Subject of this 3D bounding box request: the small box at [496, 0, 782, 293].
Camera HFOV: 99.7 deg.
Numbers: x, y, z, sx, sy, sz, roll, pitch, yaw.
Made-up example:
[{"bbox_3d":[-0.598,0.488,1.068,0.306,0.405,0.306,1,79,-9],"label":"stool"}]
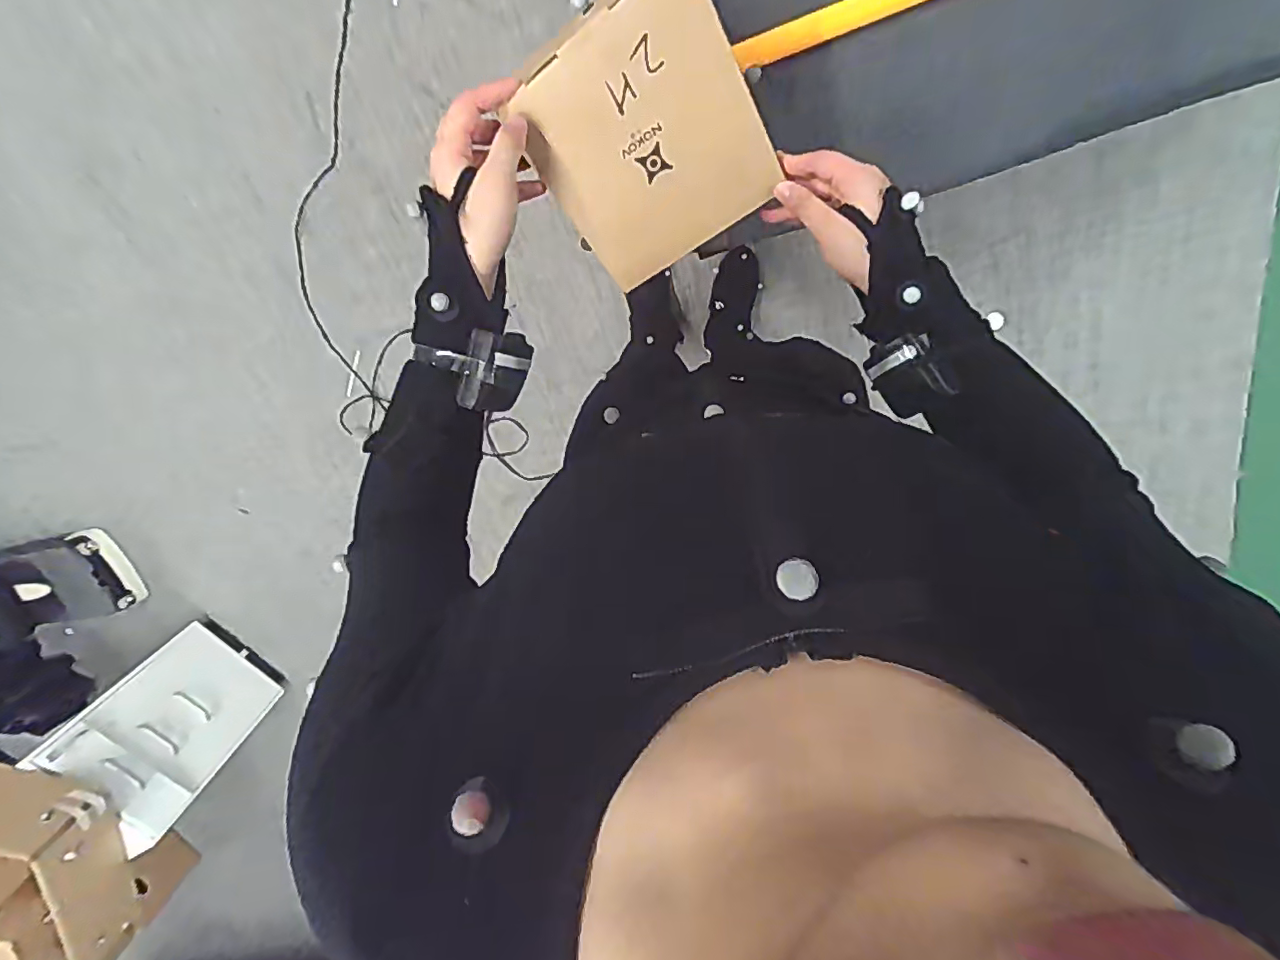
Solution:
[{"bbox_3d":[0.003,-0.311,0.478,0.168,0.176,0.179,-26,131,21],"label":"small box"}]
